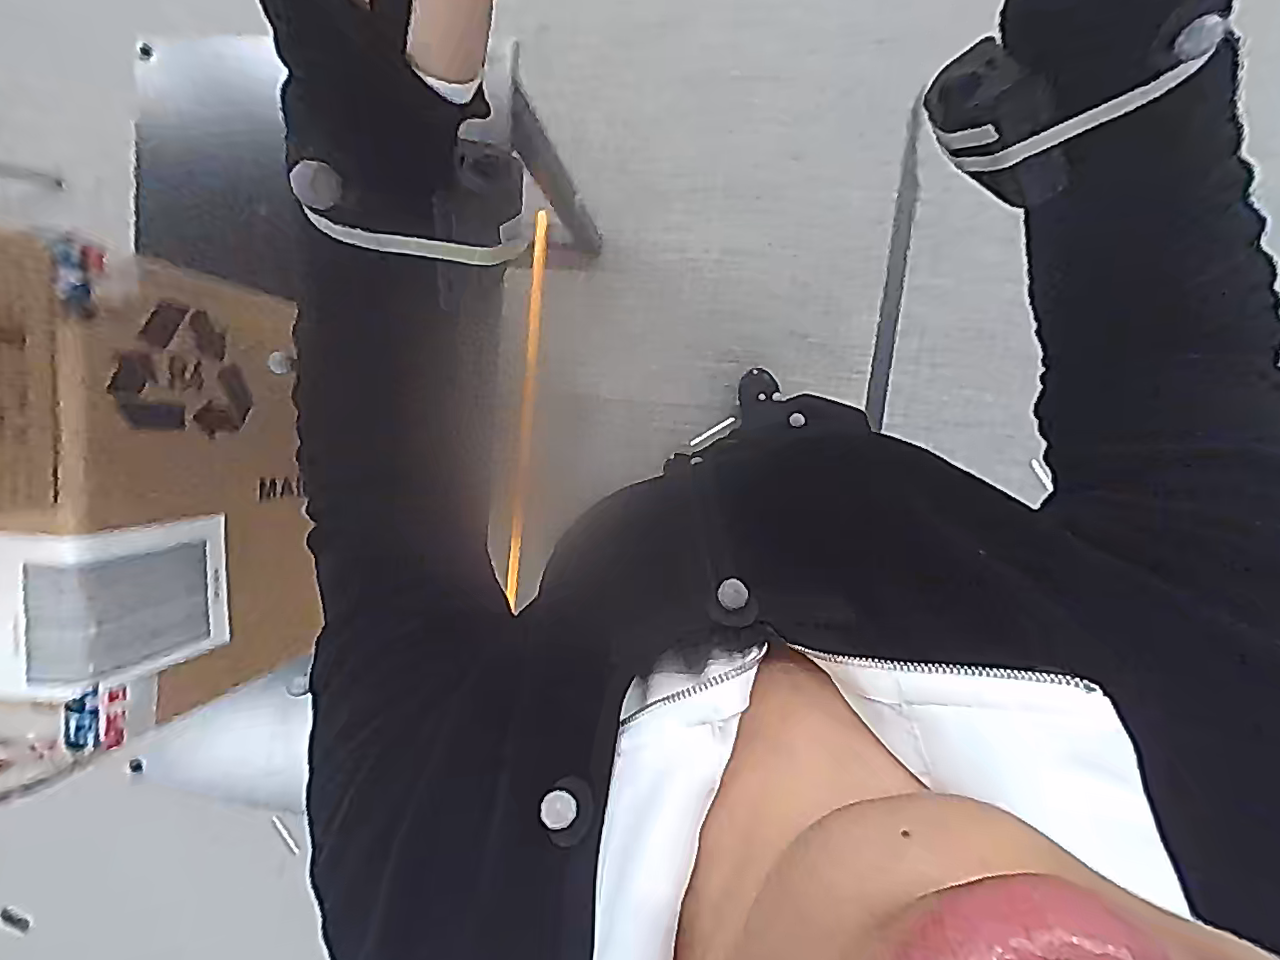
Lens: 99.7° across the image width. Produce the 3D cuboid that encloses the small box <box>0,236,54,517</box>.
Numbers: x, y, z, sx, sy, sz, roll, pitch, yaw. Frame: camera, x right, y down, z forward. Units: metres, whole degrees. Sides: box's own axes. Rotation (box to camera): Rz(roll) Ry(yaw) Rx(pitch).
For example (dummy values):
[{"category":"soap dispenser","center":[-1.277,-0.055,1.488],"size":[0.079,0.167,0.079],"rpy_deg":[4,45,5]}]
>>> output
[{"category":"small box","center":[-0.448,-0.058,0.253],"size":[0.179,0.176,0.168],"rpy_deg":[2,93,6]}]
